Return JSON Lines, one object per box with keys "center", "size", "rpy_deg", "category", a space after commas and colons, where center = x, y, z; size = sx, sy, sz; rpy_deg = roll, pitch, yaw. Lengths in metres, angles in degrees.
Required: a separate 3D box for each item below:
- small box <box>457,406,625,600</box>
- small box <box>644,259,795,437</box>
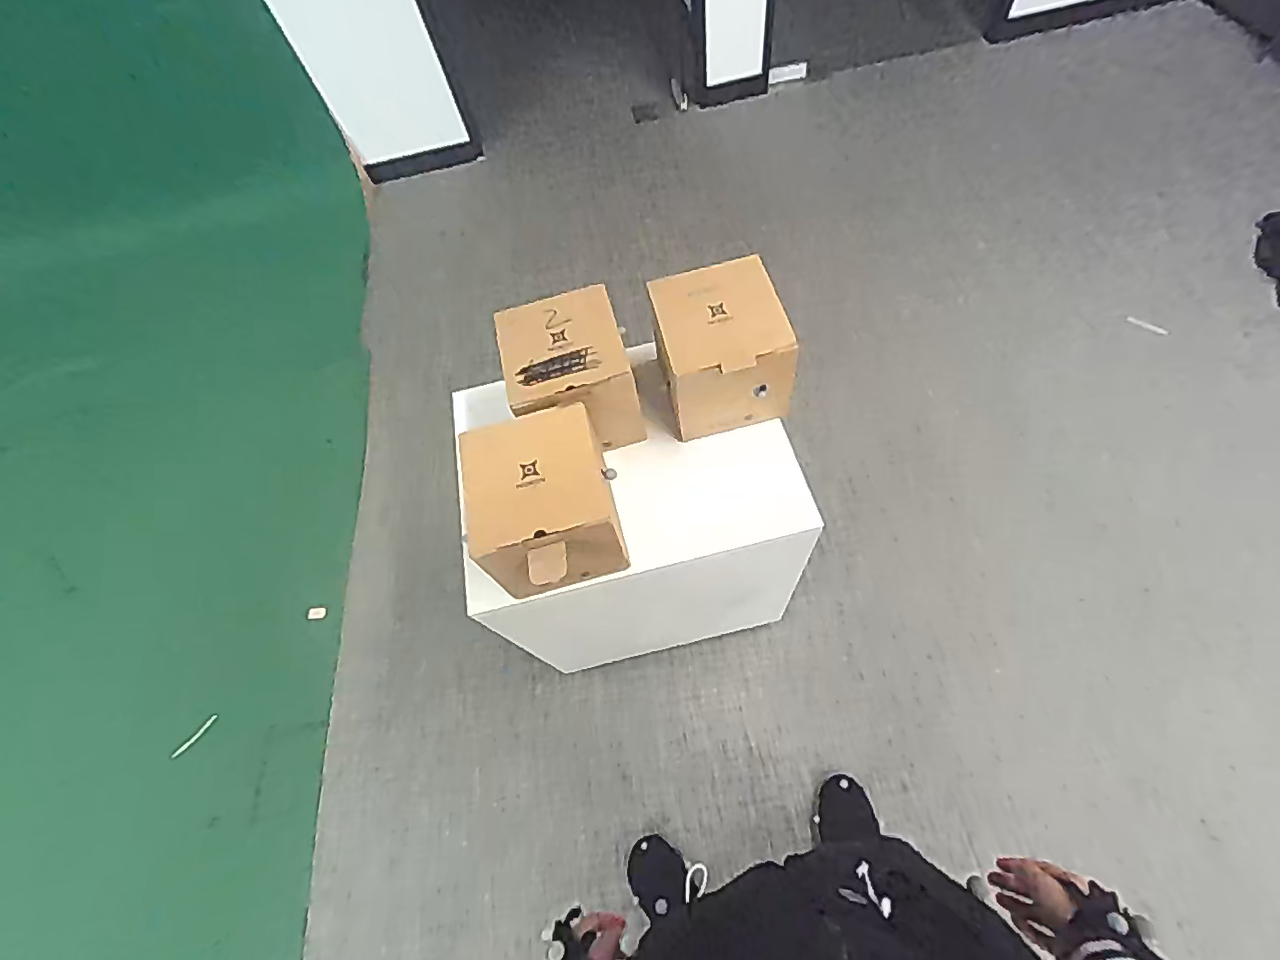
{"center": [-0.124, 0.036, 0.708], "size": [0.168, 0.176, 0.179], "rpy_deg": [-15, 61, -1], "category": "small box"}
{"center": [0.110, -0.181, 0.789], "size": [0.168, 0.176, 0.179], "rpy_deg": [-14, 61, -1], "category": "small box"}
